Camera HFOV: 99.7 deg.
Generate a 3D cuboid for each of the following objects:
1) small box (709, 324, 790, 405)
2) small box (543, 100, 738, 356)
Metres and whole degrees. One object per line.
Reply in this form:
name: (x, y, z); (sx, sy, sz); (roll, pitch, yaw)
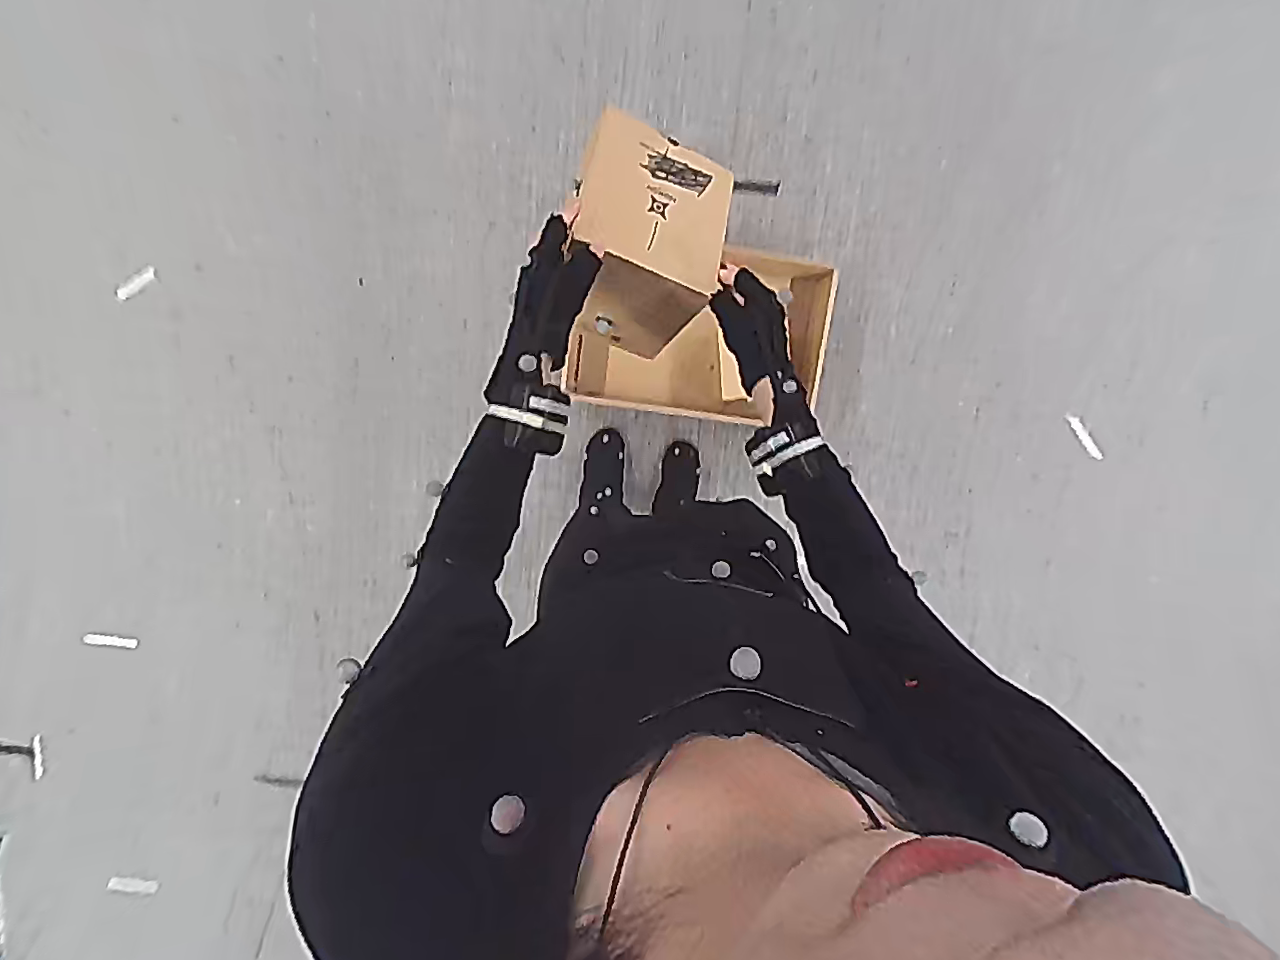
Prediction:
small box: (0.267, -0.282, 1.341); (0.168, 0.176, 0.179); (-5, 98, 0)
small box: (-0.005, -0.277, 0.634); (0.168, 0.176, 0.179); (16, 71, -19)
